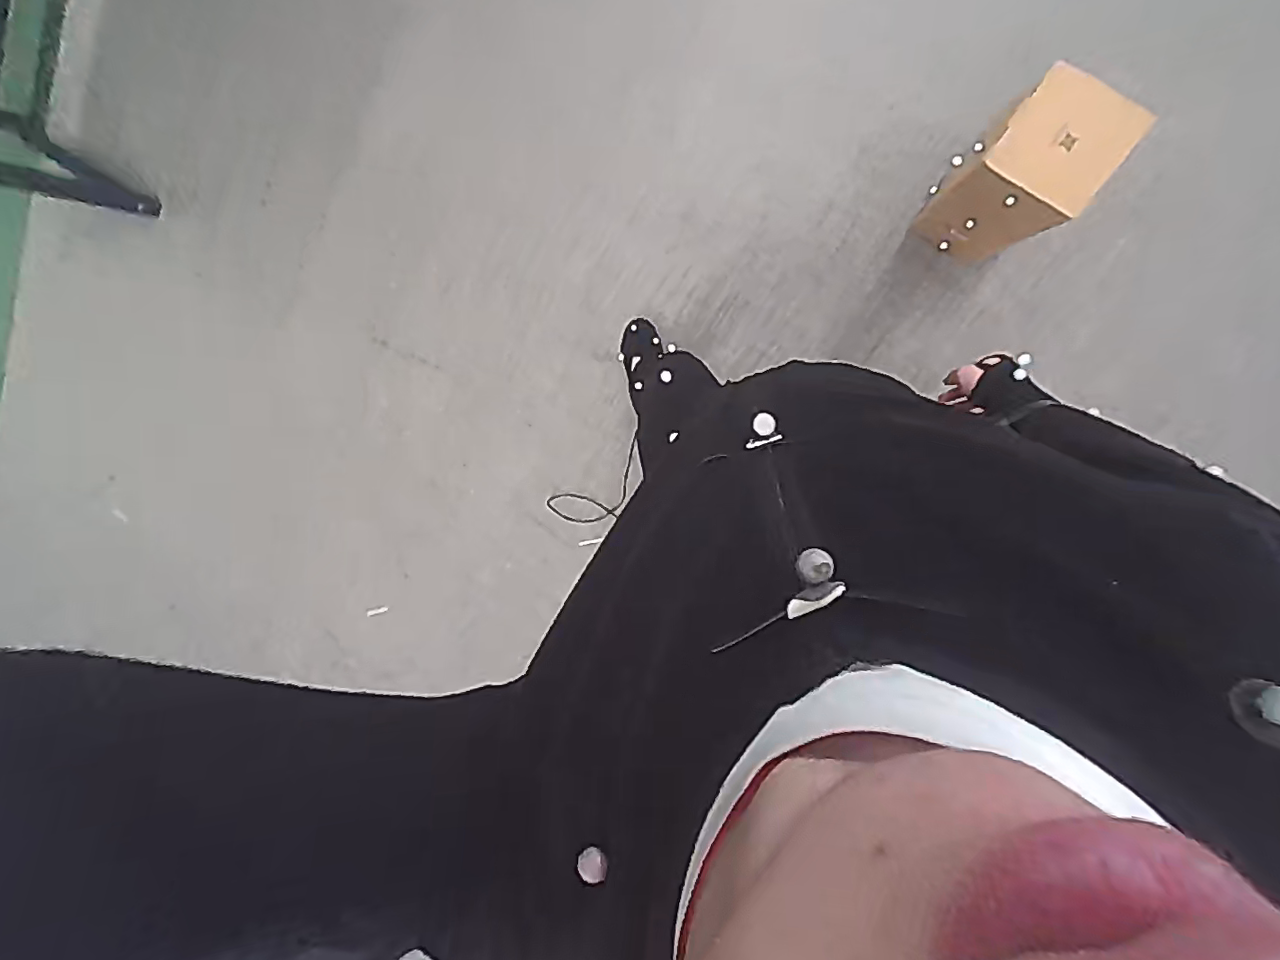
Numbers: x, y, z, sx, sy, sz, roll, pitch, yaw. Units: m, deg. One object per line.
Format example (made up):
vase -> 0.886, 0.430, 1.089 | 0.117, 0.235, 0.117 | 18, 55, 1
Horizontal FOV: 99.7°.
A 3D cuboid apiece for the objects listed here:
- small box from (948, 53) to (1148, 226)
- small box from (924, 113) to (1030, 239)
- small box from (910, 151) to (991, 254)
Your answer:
small box -> 0.669, -0.558, 0.916 | 0.179, 0.176, 0.168 | 33, 109, 0
small box -> 0.706, -0.599, 1.068 | 0.179, 0.176, 0.168 | 33, 108, 2
small box -> 0.743, -0.637, 1.225 | 0.168, 0.176, 0.179 | 34, 108, 1
